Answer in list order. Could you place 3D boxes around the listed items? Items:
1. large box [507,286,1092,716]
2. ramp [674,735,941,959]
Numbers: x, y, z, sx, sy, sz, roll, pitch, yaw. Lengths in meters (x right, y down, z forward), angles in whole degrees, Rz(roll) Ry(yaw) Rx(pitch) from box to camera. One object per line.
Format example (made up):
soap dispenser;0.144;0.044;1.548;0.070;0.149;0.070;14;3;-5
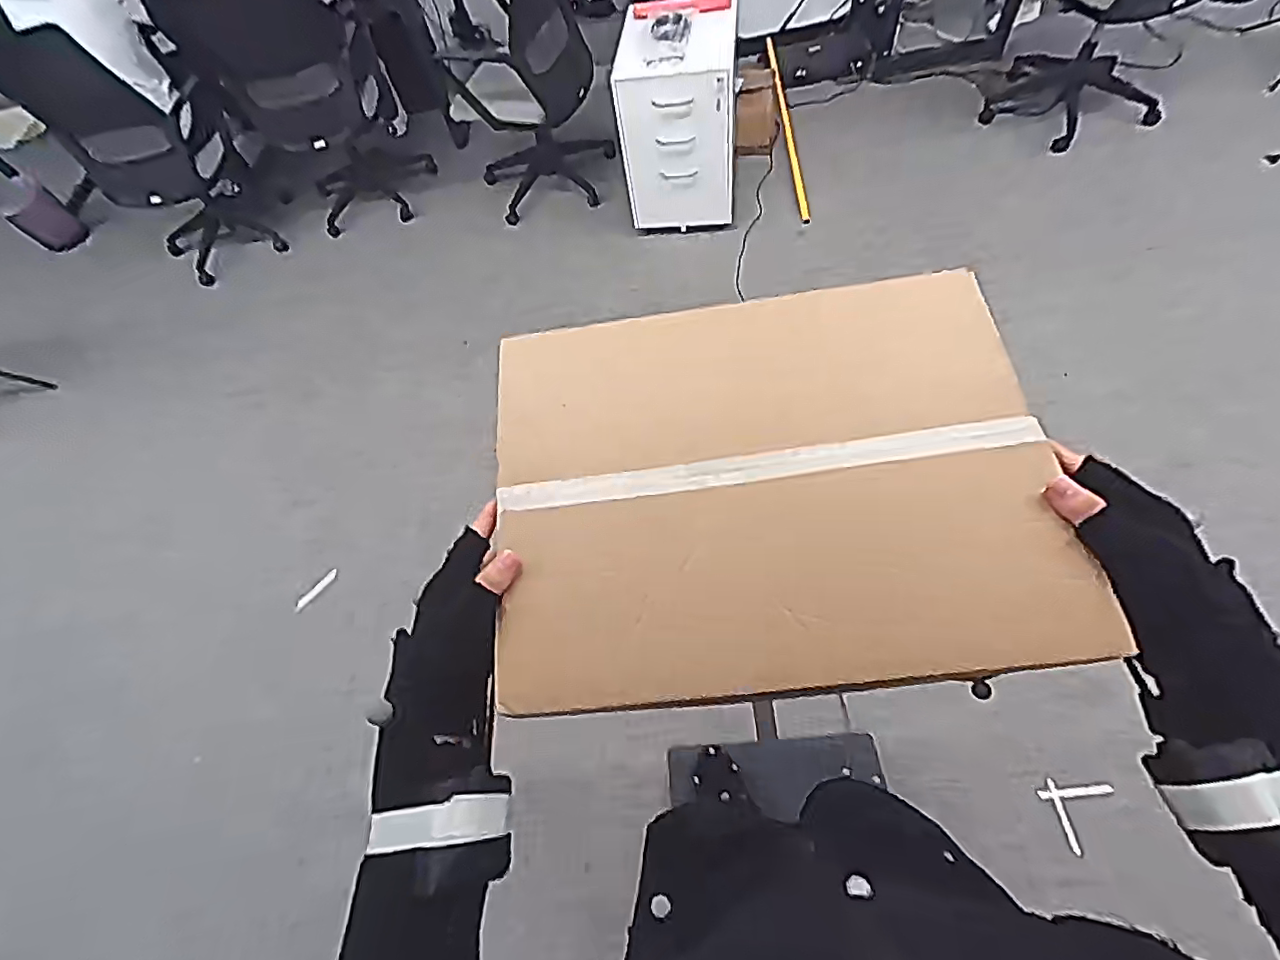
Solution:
large box;0.108;0.054;0.561;0.408;0.320;0.320;-8;66;5
ramp;0.339;1.024;1.000;0.509;0.206;0.991;-9;59;6
